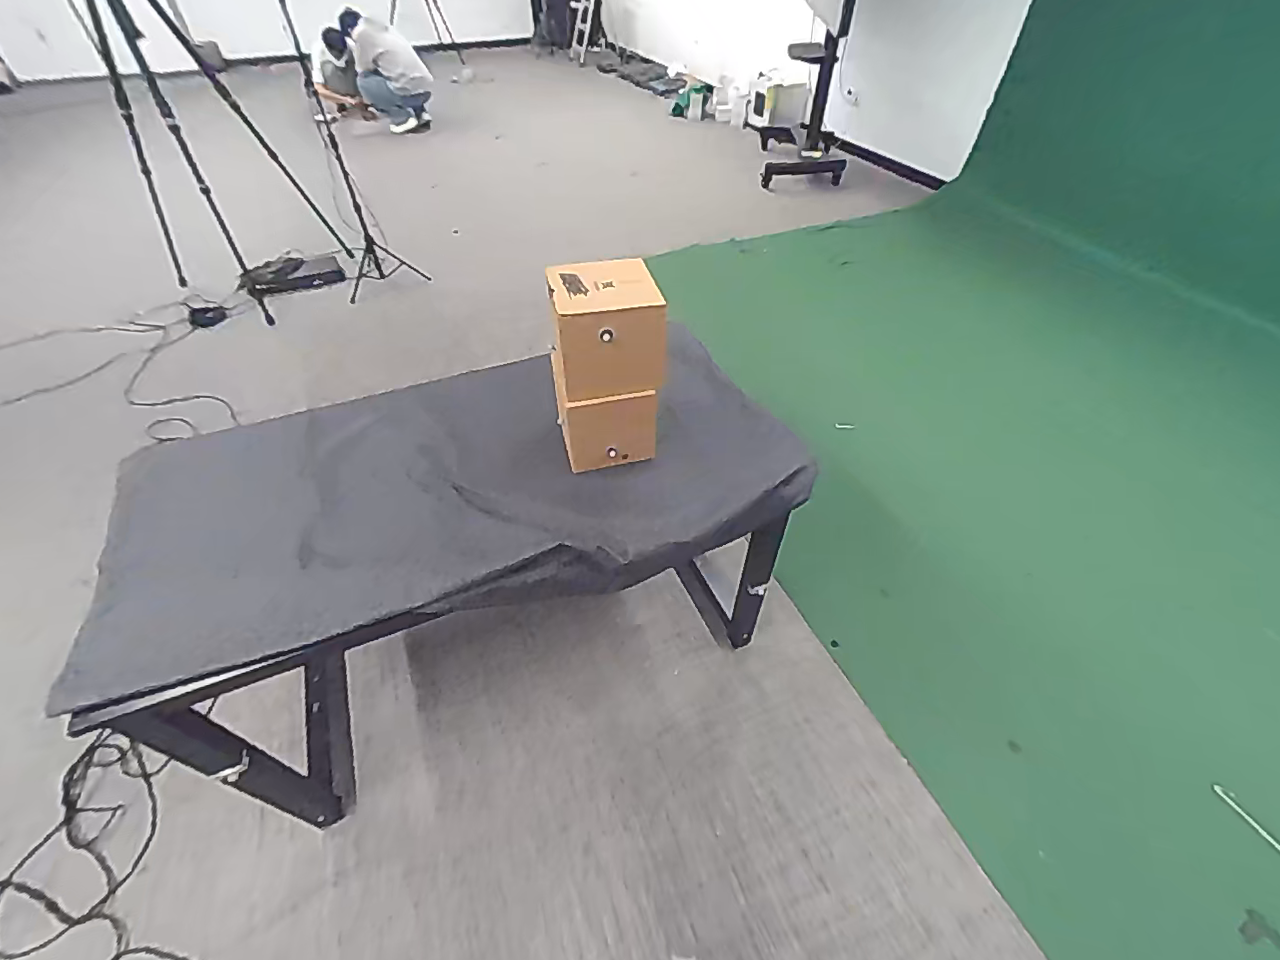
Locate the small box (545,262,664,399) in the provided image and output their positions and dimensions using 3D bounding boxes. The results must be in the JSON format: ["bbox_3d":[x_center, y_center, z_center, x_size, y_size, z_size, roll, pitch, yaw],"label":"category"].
[{"bbox_3d":[-0.062,-0.260,0.953,0.179,0.176,0.168,-10,48,-10],"label":"small box"}]
